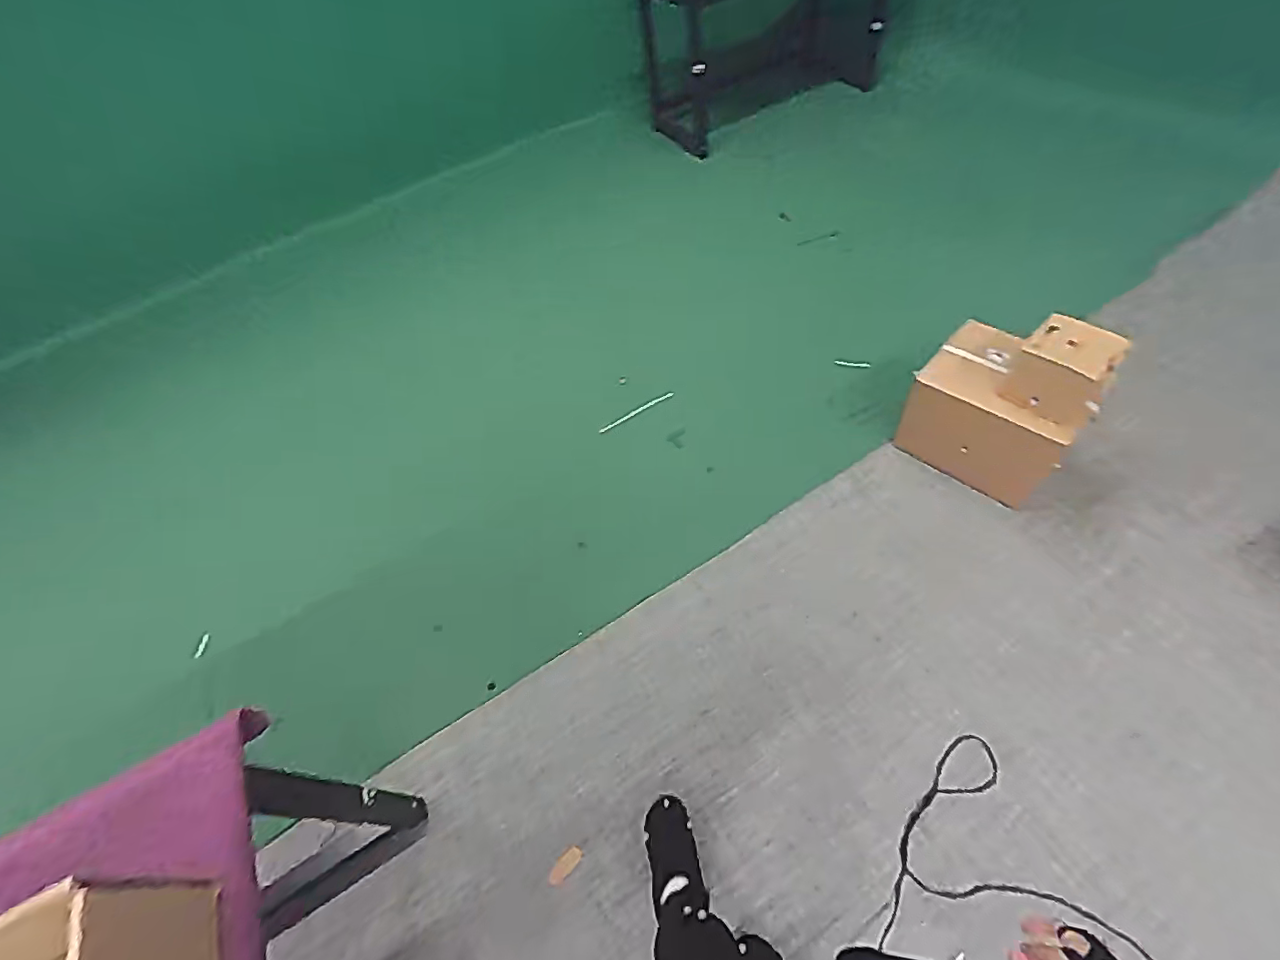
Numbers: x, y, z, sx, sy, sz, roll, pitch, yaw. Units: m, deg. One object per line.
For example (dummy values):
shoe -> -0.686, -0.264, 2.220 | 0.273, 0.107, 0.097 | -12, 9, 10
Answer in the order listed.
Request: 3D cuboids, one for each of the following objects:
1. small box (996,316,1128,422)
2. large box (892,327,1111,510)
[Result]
small box -> 1.049, -0.271, 1.359 | 0.168, 0.176, 0.179 | -39, 57, -16
large box -> 1.041, -0.184, 1.605 | 0.408, 0.320, 0.320 | 35, 67, 31
